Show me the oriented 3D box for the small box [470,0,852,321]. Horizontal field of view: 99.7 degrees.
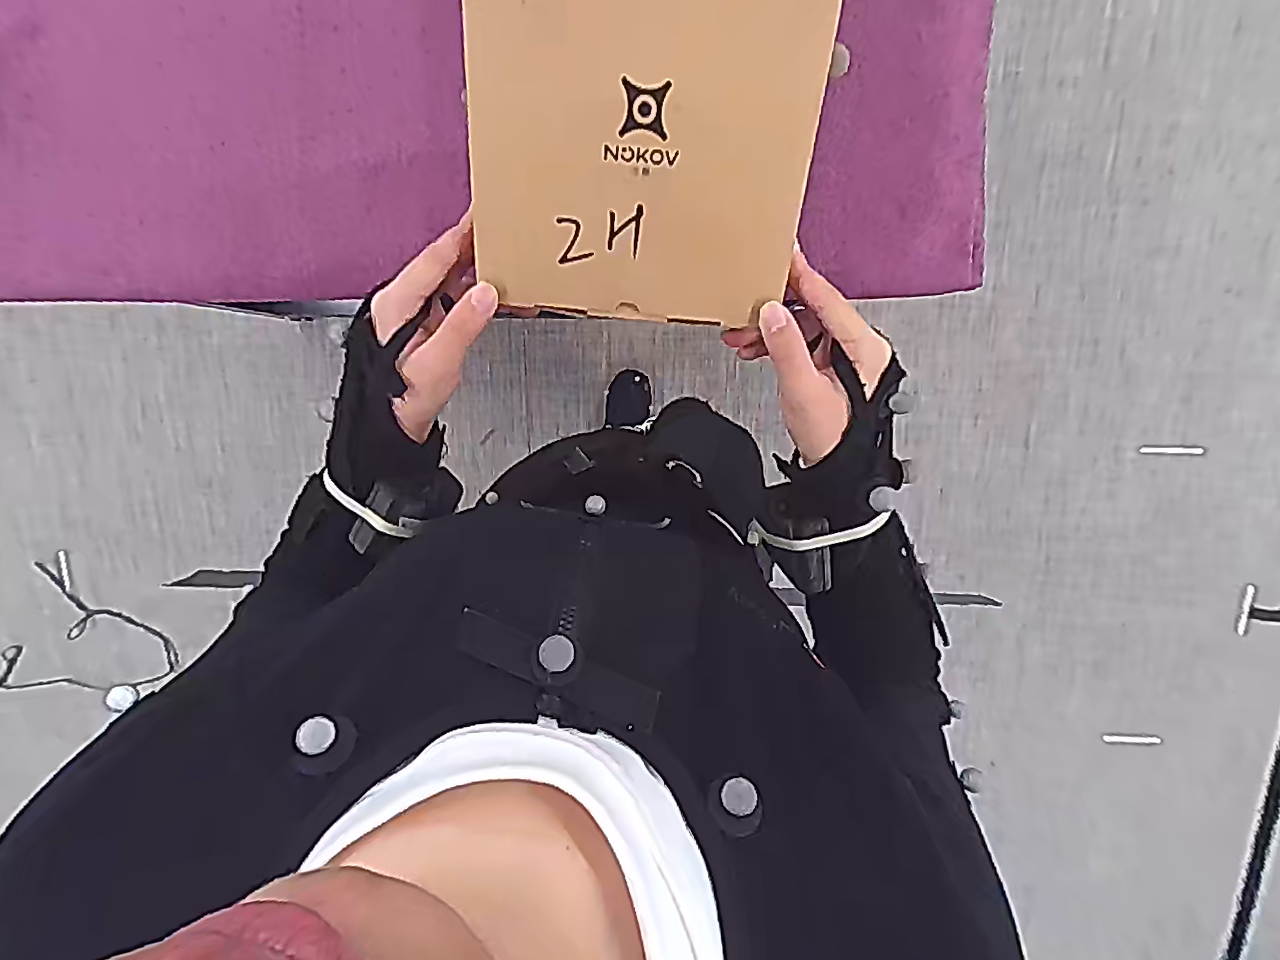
[{"bbox_3d":[0.007,-0.205,0.321,0.168,0.176,0.179,7,116,0],"label":"small box"}]
